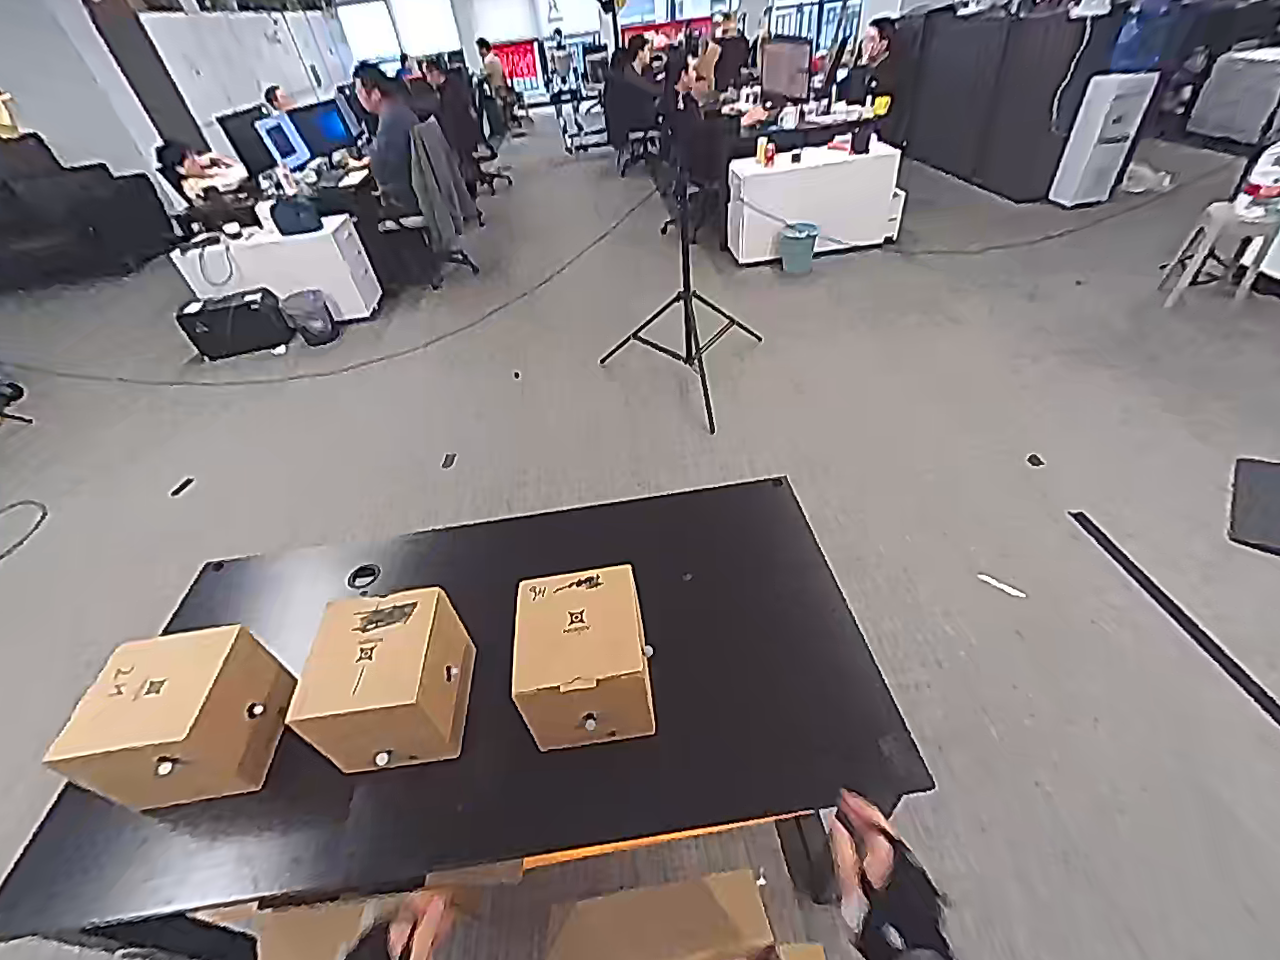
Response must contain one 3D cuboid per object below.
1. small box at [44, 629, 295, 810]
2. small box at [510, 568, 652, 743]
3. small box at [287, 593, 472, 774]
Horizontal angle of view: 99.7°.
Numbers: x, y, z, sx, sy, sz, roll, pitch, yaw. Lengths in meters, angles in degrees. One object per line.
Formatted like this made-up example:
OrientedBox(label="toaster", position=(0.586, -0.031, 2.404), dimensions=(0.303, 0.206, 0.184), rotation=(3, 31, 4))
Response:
OrientedBox(label="small box", position=(-0.634, 0.338, 0.763), dimensions=(0.179, 0.176, 0.168), rotation=(-9, 41, -2))
OrientedBox(label="small box", position=(-0.079, 0.256, 0.775), dimensions=(0.168, 0.176, 0.179), rotation=(-9, 41, -1))
OrientedBox(label="small box", position=(-0.353, 0.291, 0.777), dimensions=(0.168, 0.176, 0.179), rotation=(-8, 42, 0))
